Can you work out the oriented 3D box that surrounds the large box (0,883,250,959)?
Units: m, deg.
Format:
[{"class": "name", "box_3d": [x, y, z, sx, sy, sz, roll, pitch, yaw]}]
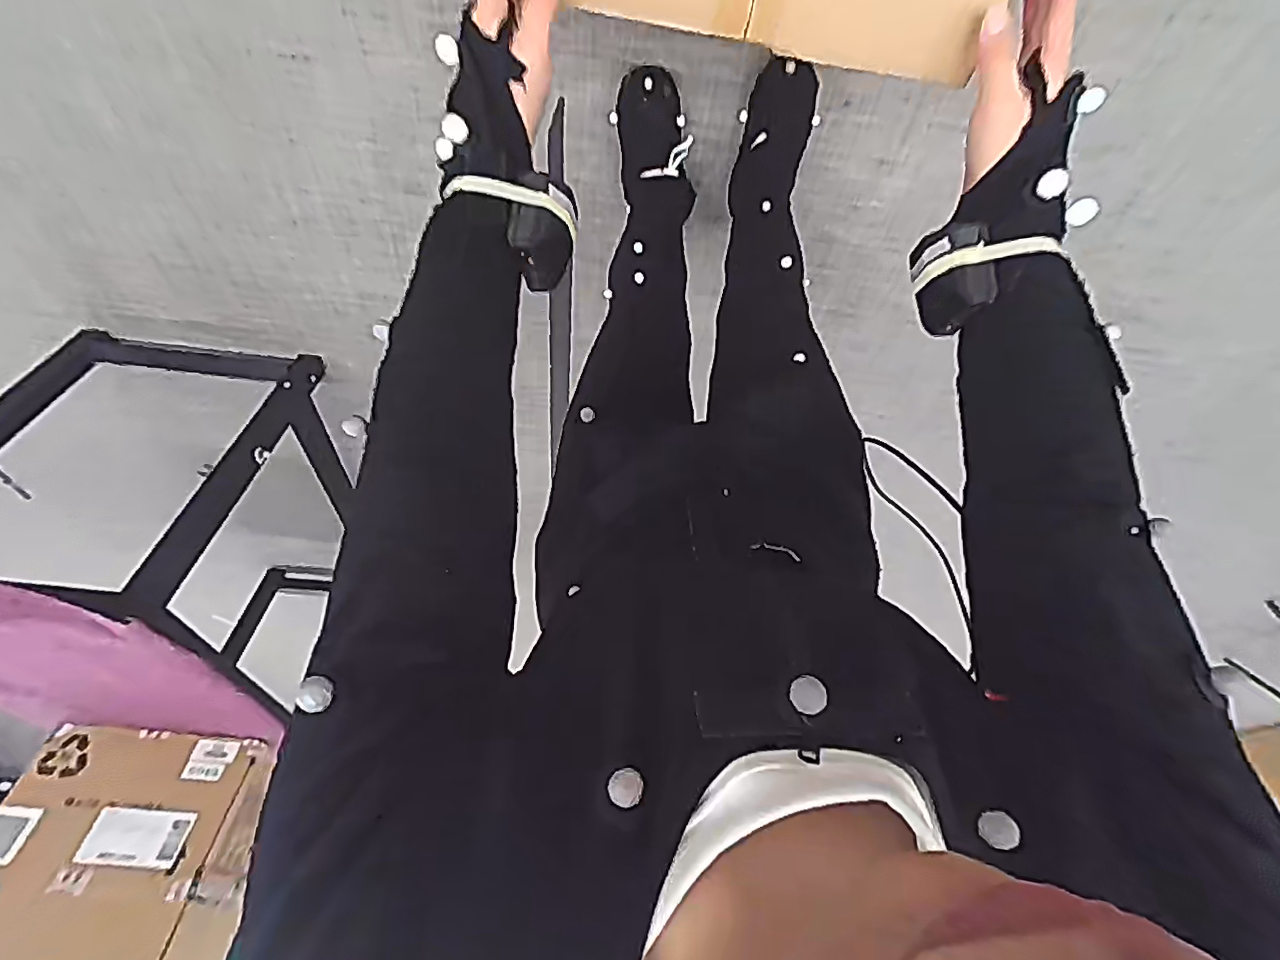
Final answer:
[{"class": "large box", "box_3d": [-1.198, 1.099, 1.190, 0.408, 0.320, 0.320, 6, 141, -3]}]
